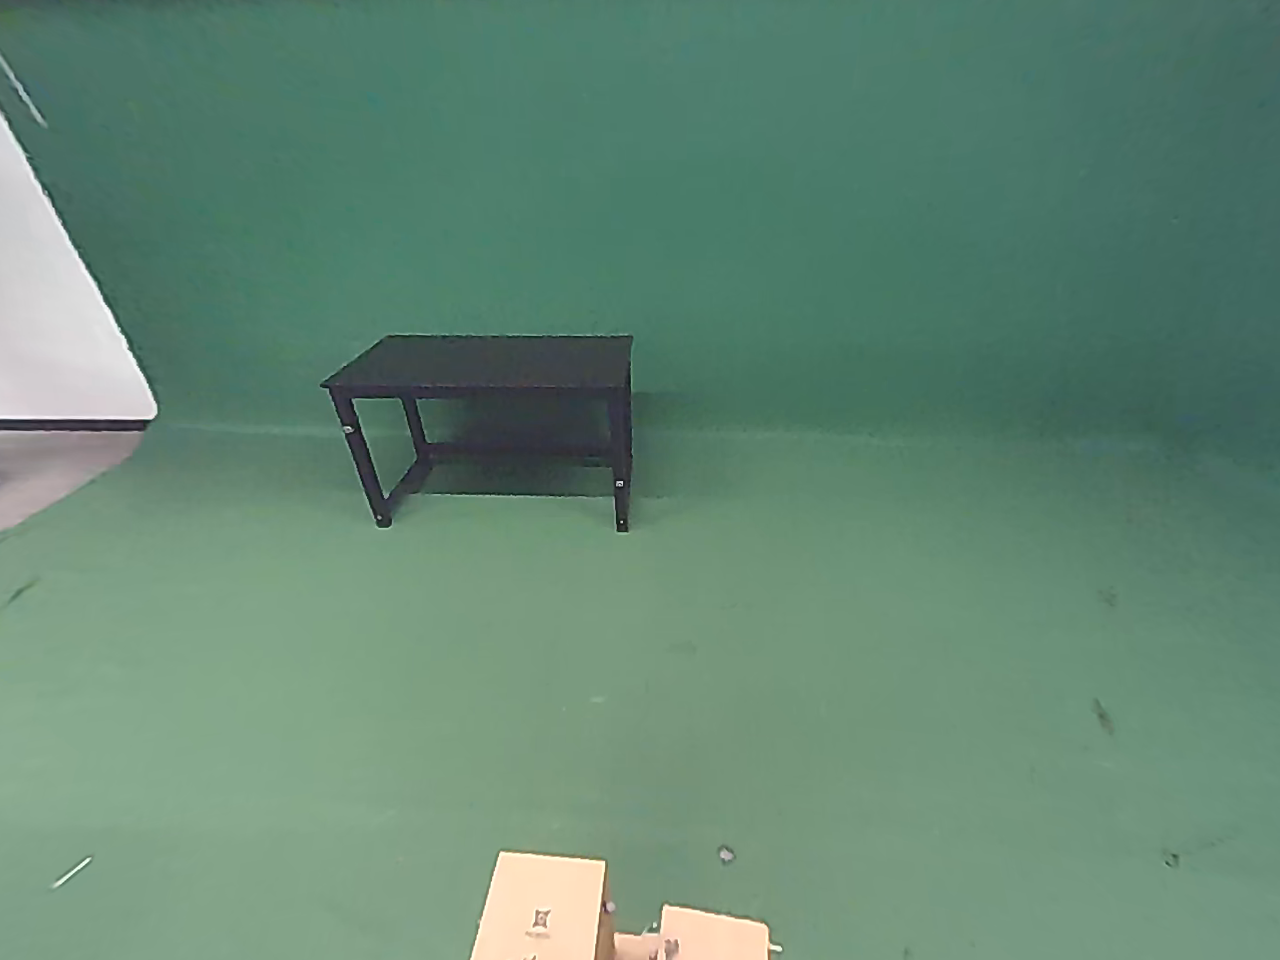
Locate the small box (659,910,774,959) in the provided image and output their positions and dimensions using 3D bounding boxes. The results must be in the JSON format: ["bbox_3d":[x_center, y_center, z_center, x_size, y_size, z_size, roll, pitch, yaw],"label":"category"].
[{"bbox_3d":[0.112,0.820,0.844,0.179,0.176,0.168,4,32,10],"label":"small box"}]

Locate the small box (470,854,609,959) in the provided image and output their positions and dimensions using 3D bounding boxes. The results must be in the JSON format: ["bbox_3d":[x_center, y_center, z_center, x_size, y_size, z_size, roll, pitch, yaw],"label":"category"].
[{"bbox_3d":[-0.137,0.679,0.775,0.168,0.176,0.179,2,32,5],"label":"small box"}]
